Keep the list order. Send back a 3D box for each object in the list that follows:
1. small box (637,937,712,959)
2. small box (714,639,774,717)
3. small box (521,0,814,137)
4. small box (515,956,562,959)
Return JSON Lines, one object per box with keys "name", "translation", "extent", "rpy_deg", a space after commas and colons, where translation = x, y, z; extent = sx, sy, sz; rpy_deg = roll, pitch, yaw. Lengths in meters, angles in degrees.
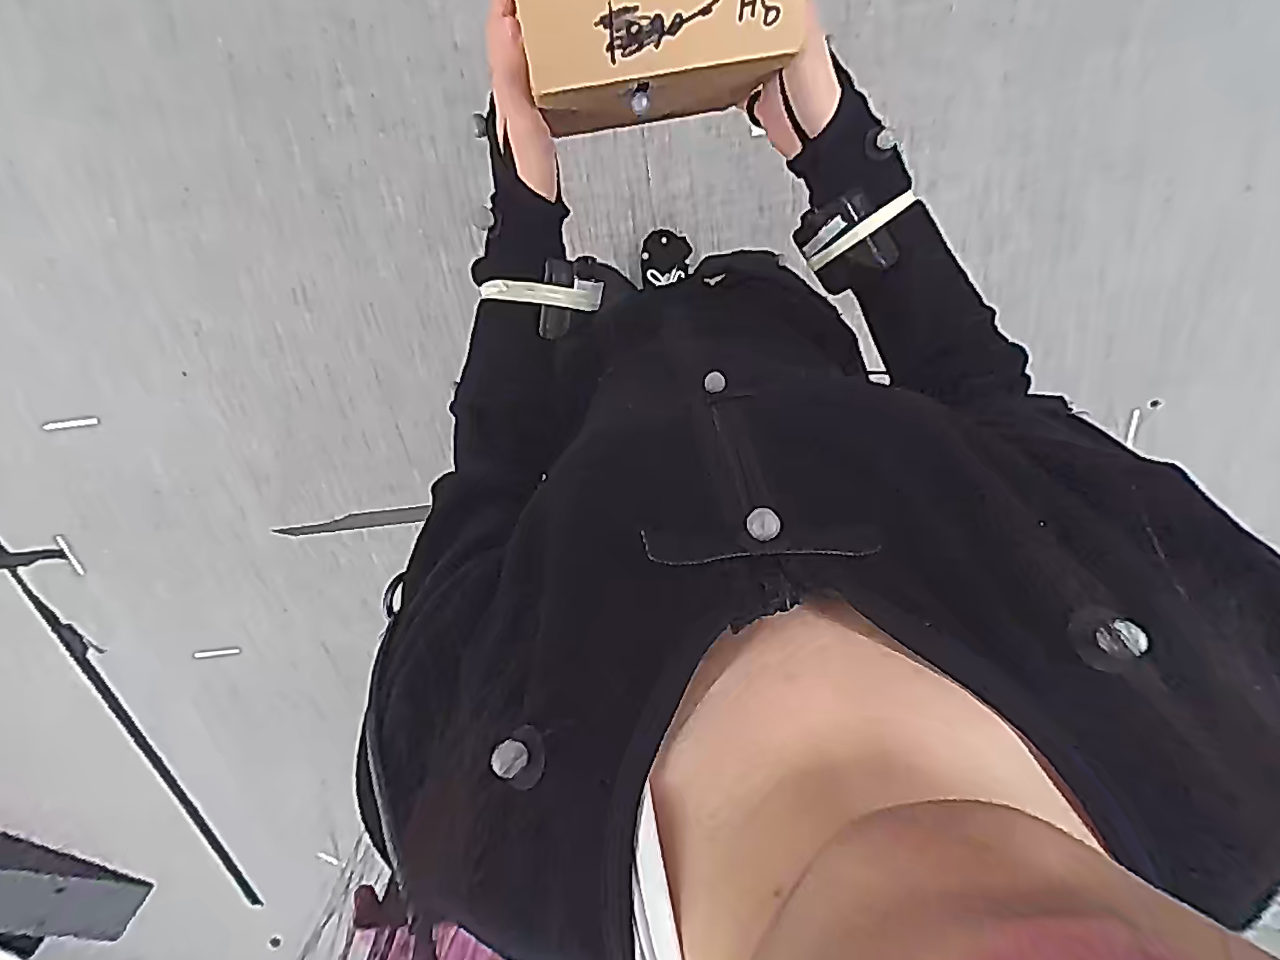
{"name": "small box", "translation": [0.083, 1.131, 1.176], "extent": [0.168, 0.176, 0.179], "rpy_deg": [-6, 116, 2]}
{"name": "small box", "translation": [0.336, 0.638, 1.760], "extent": [0.168, 0.176, 0.179], "rpy_deg": [-6, 115, 2]}
{"name": "small box", "translation": [0.001, -0.348, 0.352], "extent": [0.168, 0.176, 0.179], "rpy_deg": [-11, 115, -2]}
{"name": "small box", "translation": [-0.258, 1.201, 1.197], "extent": [0.179, 0.176, 0.168], "rpy_deg": [-6, 115, 1]}
